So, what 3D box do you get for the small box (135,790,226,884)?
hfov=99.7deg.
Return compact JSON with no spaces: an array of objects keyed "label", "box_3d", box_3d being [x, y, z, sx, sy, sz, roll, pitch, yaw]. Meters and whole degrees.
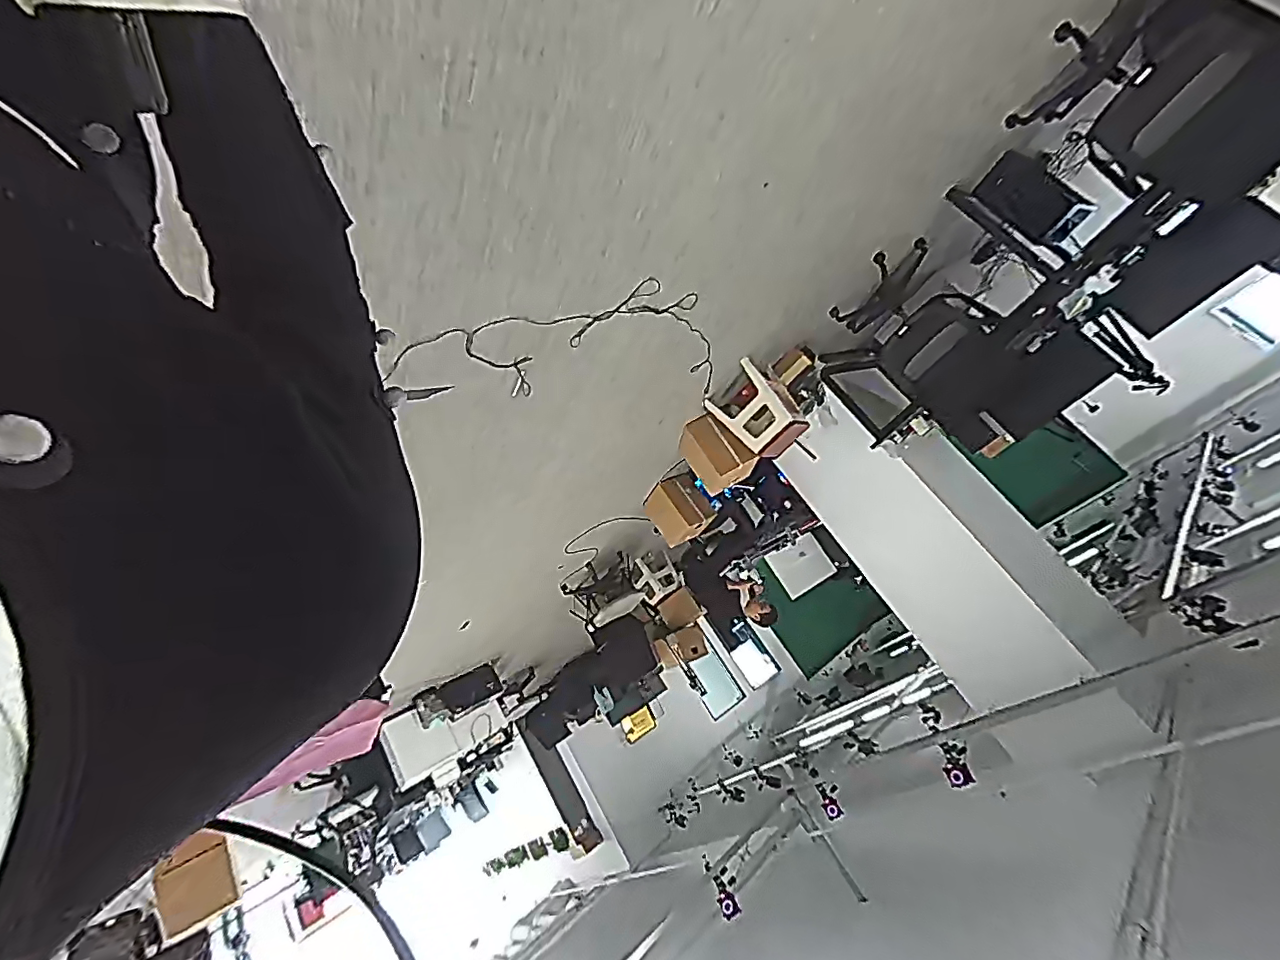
[{"label":"small box","box_3d":[-1.399,1.086,1.651,0.179,0.176,0.168,-16,153,-41]}]
